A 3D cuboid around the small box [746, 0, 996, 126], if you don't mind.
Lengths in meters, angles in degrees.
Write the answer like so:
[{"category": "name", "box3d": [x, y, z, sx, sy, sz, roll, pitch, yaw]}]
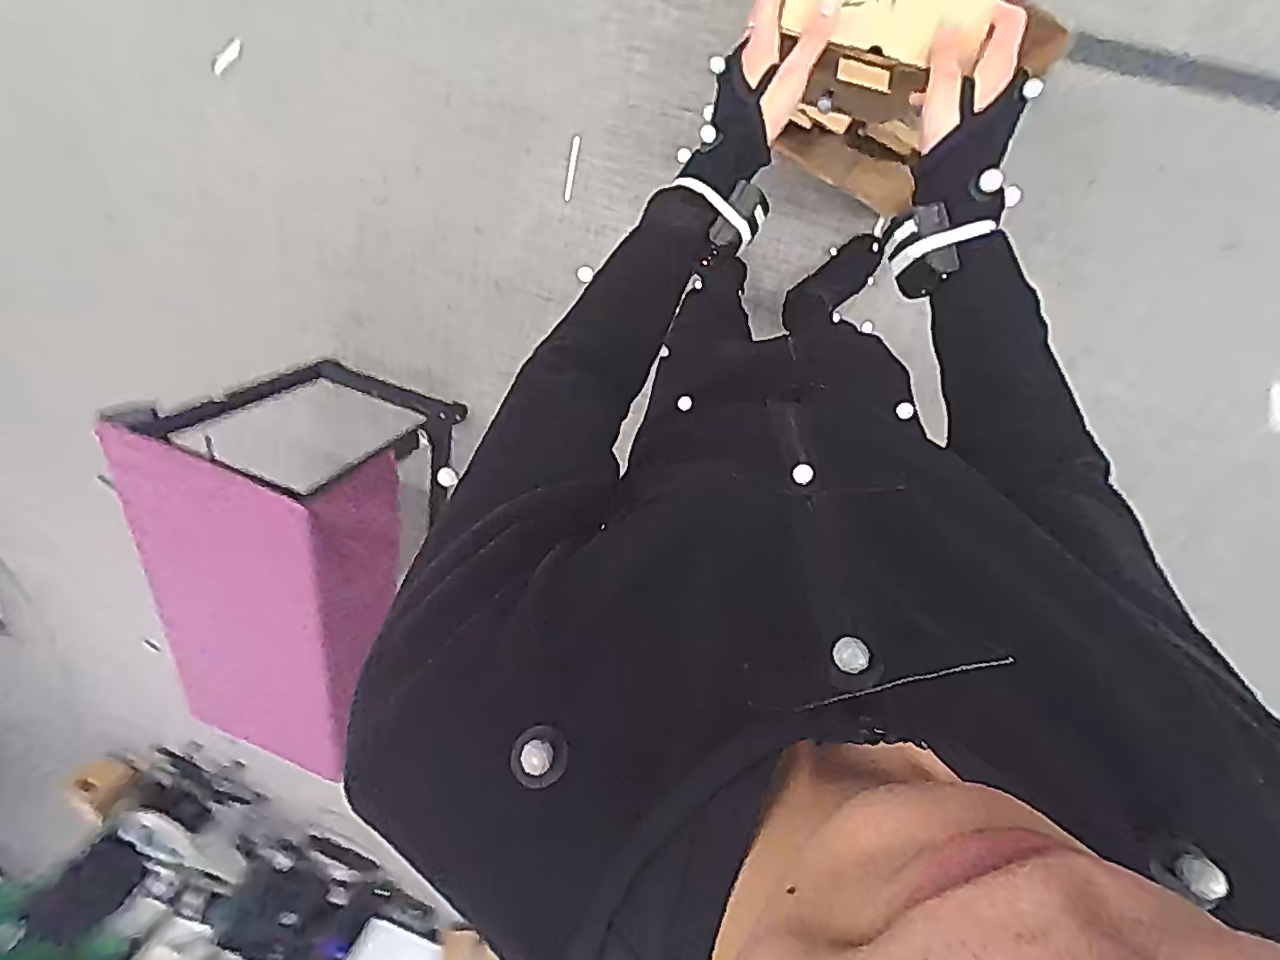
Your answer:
[{"category": "small box", "box3d": [0.203, -0.446, 0.476, 0.168, 0.176, 0.179, 11, 112, -4]}]
